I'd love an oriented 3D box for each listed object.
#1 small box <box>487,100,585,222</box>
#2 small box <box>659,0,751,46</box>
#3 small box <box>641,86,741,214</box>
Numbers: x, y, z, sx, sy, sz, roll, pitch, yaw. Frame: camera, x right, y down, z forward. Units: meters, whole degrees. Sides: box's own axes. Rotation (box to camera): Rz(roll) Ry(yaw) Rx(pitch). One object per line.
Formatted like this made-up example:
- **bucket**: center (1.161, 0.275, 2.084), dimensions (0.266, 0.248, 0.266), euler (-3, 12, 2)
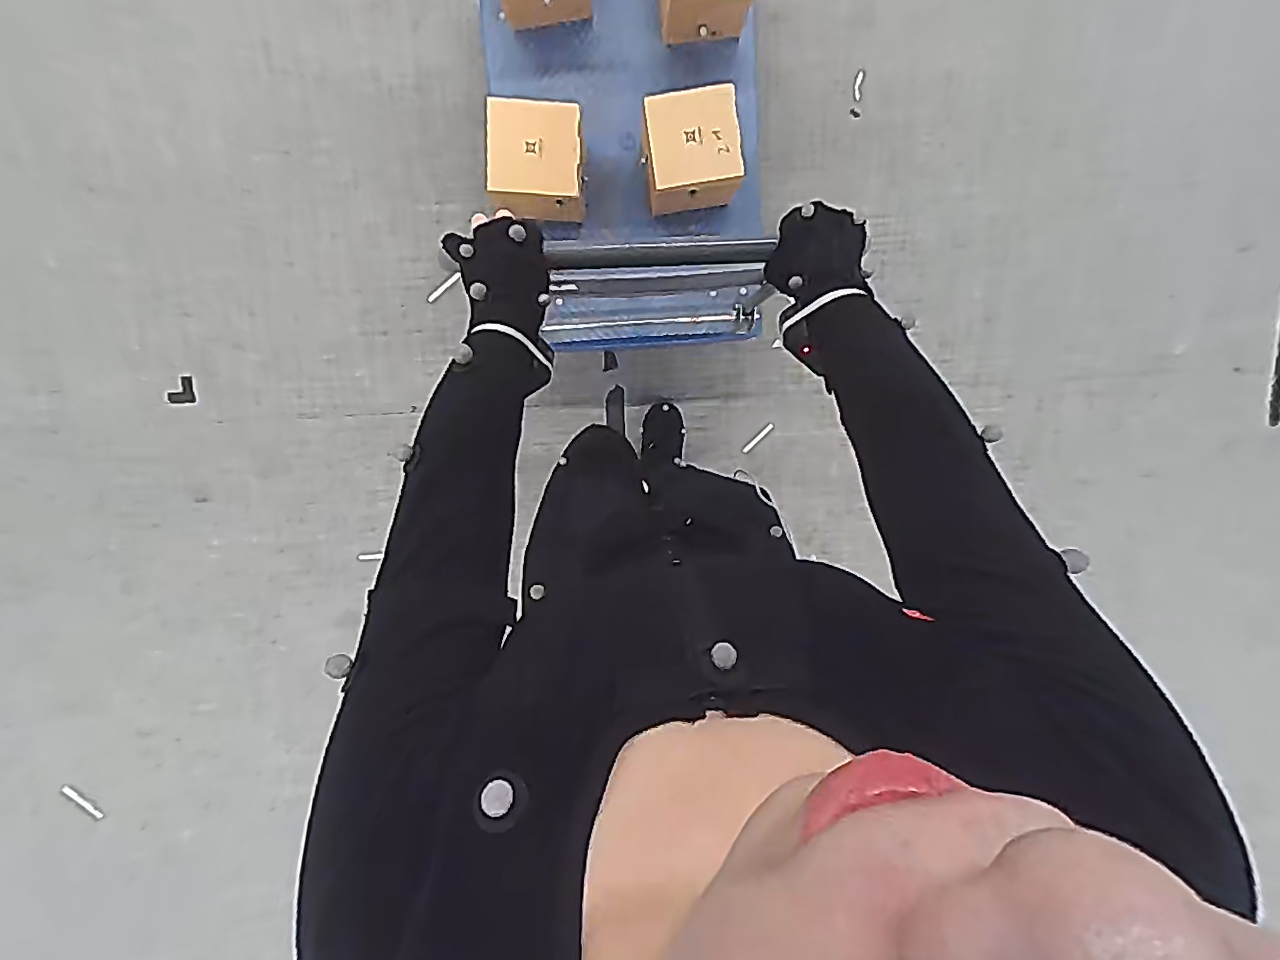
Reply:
- **small box**: center (-0.208, -0.644, 1.110), dimensions (0.179, 0.176, 0.168), euler (2, 99, -4)
- **small box**: center (0.122, -1.001, 1.058), dimensions (0.168, 0.176, 0.179), euler (-6, 101, -1)
- **small box**: center (0.098, -0.667, 1.115), dimensions (0.179, 0.176, 0.168), euler (-9, 100, 0)
